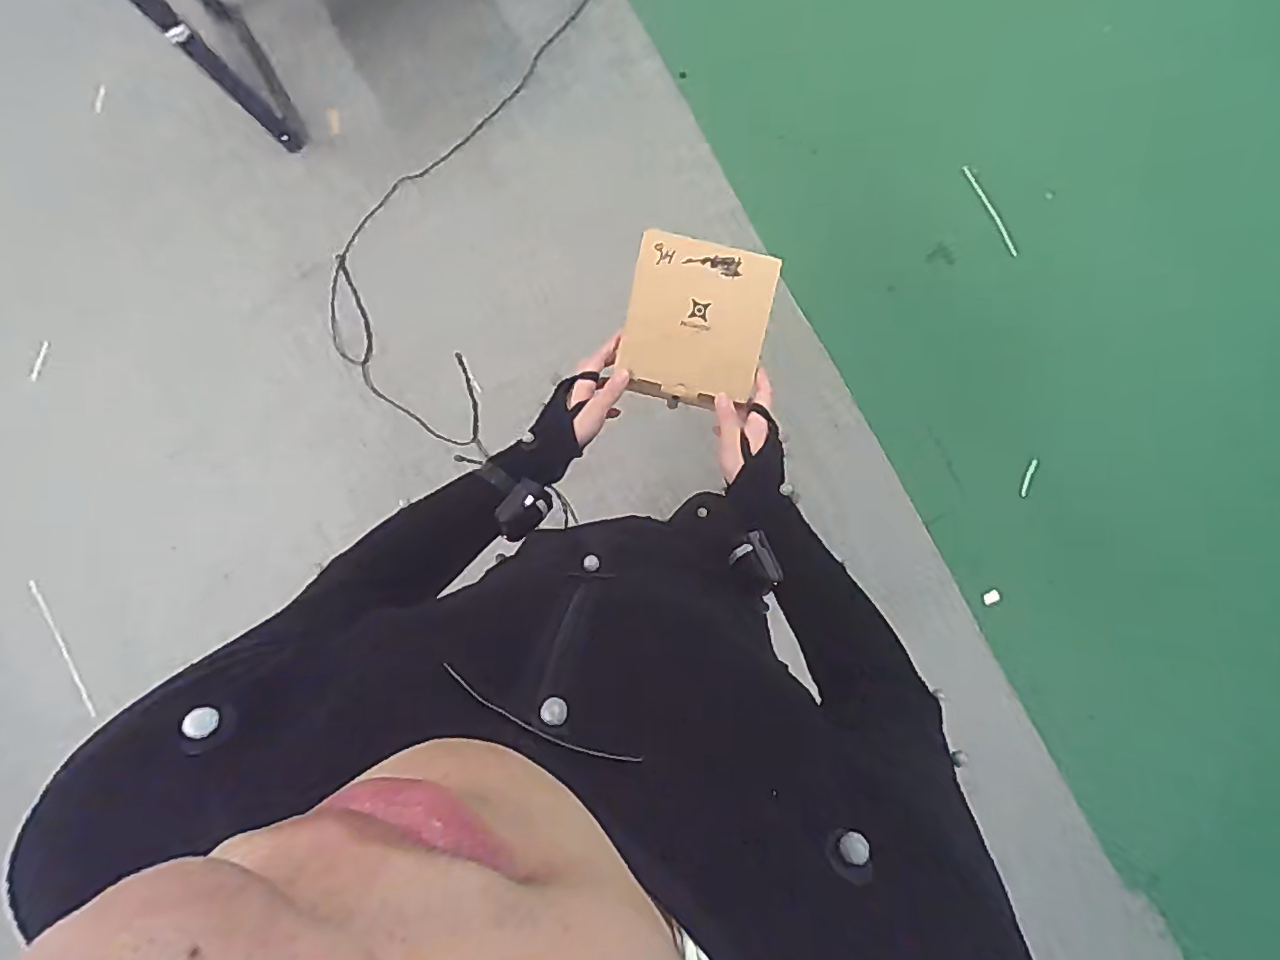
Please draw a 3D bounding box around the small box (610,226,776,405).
[{"bbox_3d":[0.062,-0.199,0.709,0.168,0.176,0.179,12,94,-1],"label":"small box"}]
